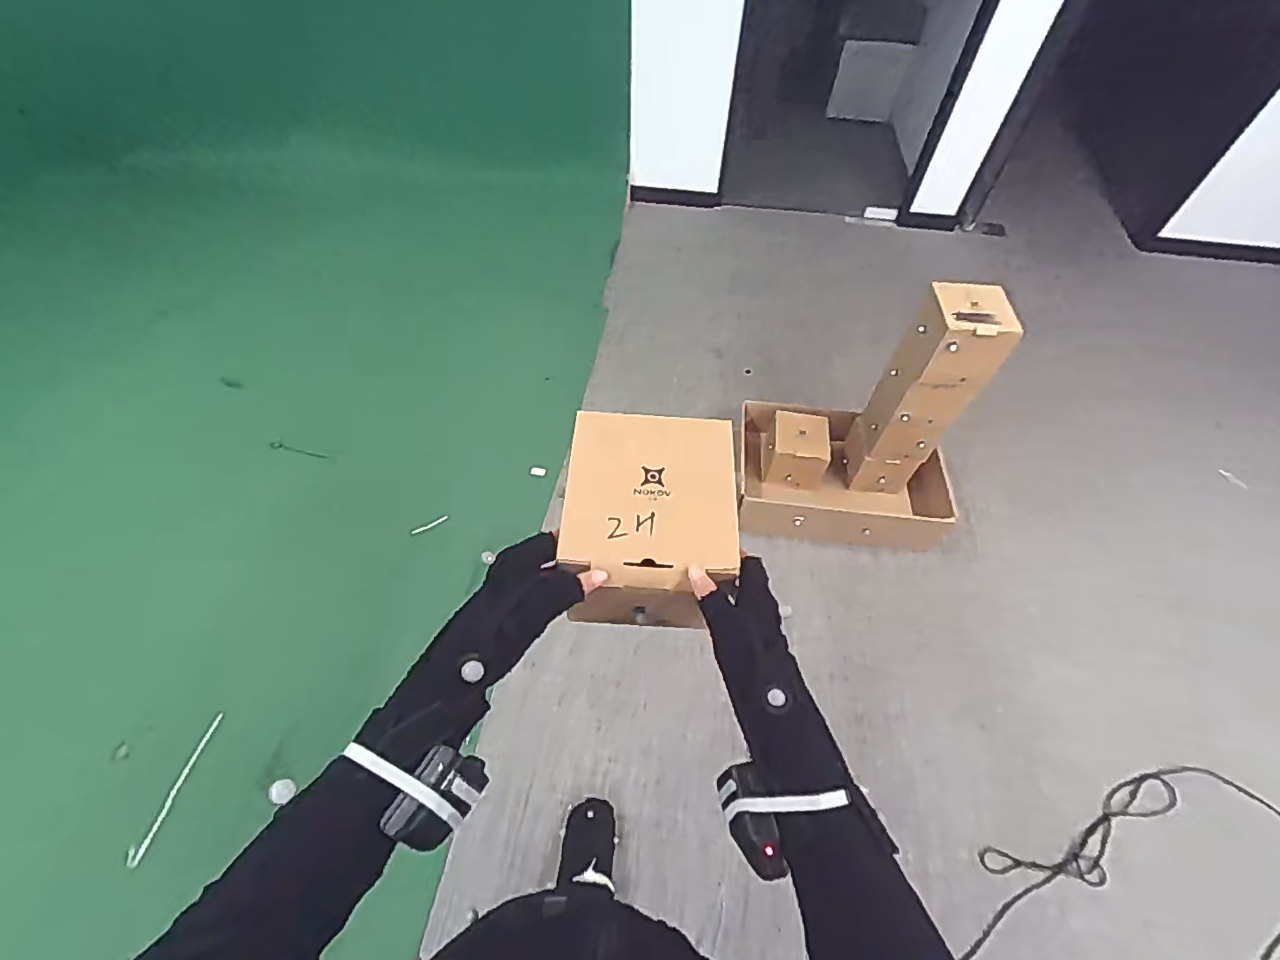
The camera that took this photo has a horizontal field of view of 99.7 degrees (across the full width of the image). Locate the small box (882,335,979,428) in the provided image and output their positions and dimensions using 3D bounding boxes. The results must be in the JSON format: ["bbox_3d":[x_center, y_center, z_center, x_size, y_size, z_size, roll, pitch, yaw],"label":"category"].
[{"bbox_3d":[0.765,-0.261,1.447,0.168,0.176,0.179,7,54,3],"label":"small box"}]

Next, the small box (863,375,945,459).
[{"bbox_3d":[0.765,-0.180,1.571,0.168,0.176,0.179,6,54,4],"label":"small box"}]

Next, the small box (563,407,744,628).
[{"bbox_3d":[0.012,0.045,0.591,0.168,0.176,0.179,4,57,0],"label":"small box"}]

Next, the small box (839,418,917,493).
[{"bbox_3d":[0.749,-0.075,1.718,0.168,0.176,0.179,2,54,2],"label":"small box"}]
